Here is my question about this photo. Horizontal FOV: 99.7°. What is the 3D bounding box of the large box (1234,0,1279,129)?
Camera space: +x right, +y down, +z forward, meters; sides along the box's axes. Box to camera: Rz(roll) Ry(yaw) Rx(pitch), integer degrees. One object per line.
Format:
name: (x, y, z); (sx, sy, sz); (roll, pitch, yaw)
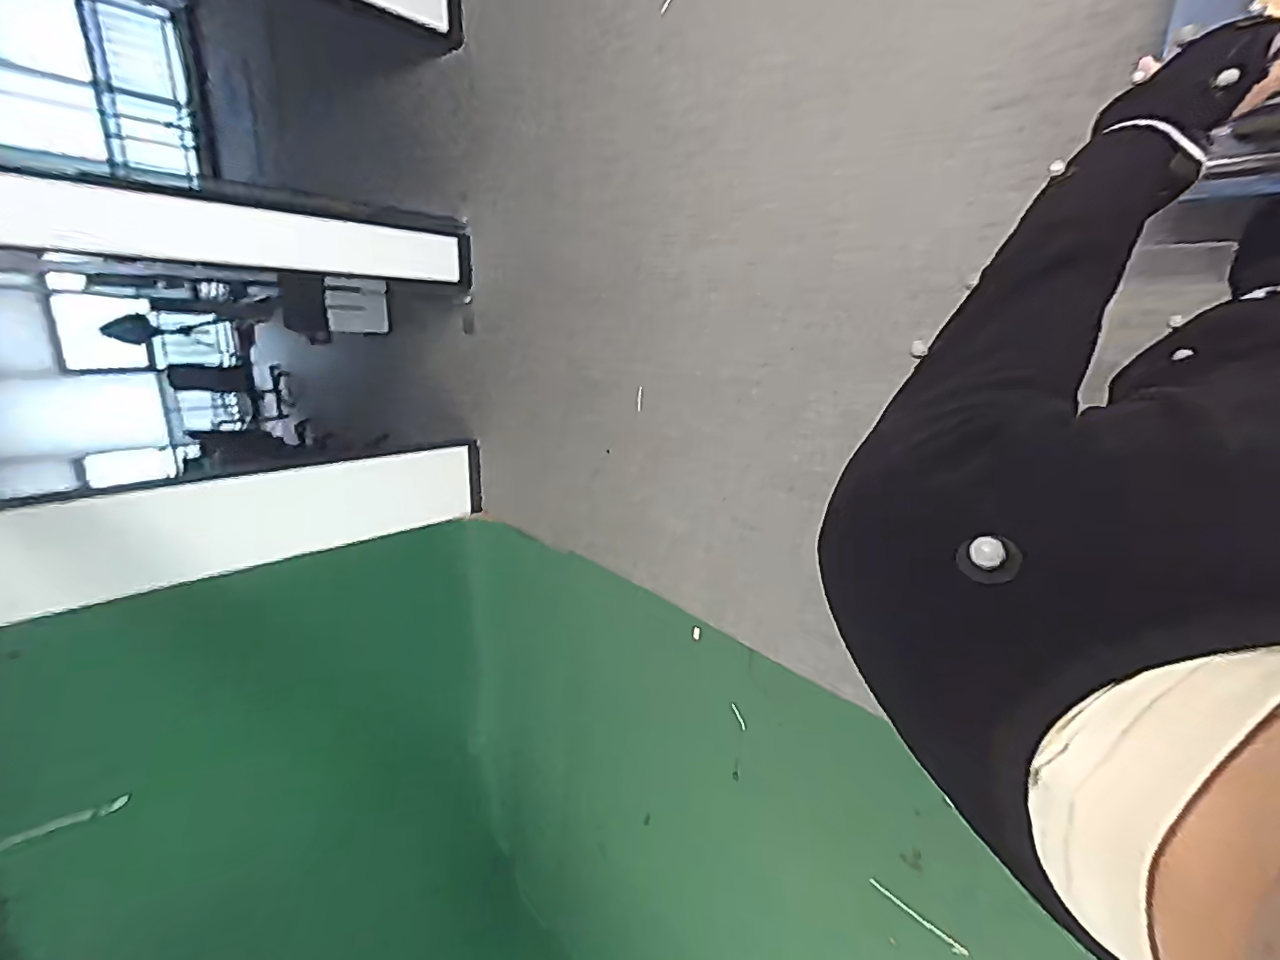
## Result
large box: (1.036, -0.751, 0.692); (0.320, 0.320, 0.408); (16, 110, 43)
